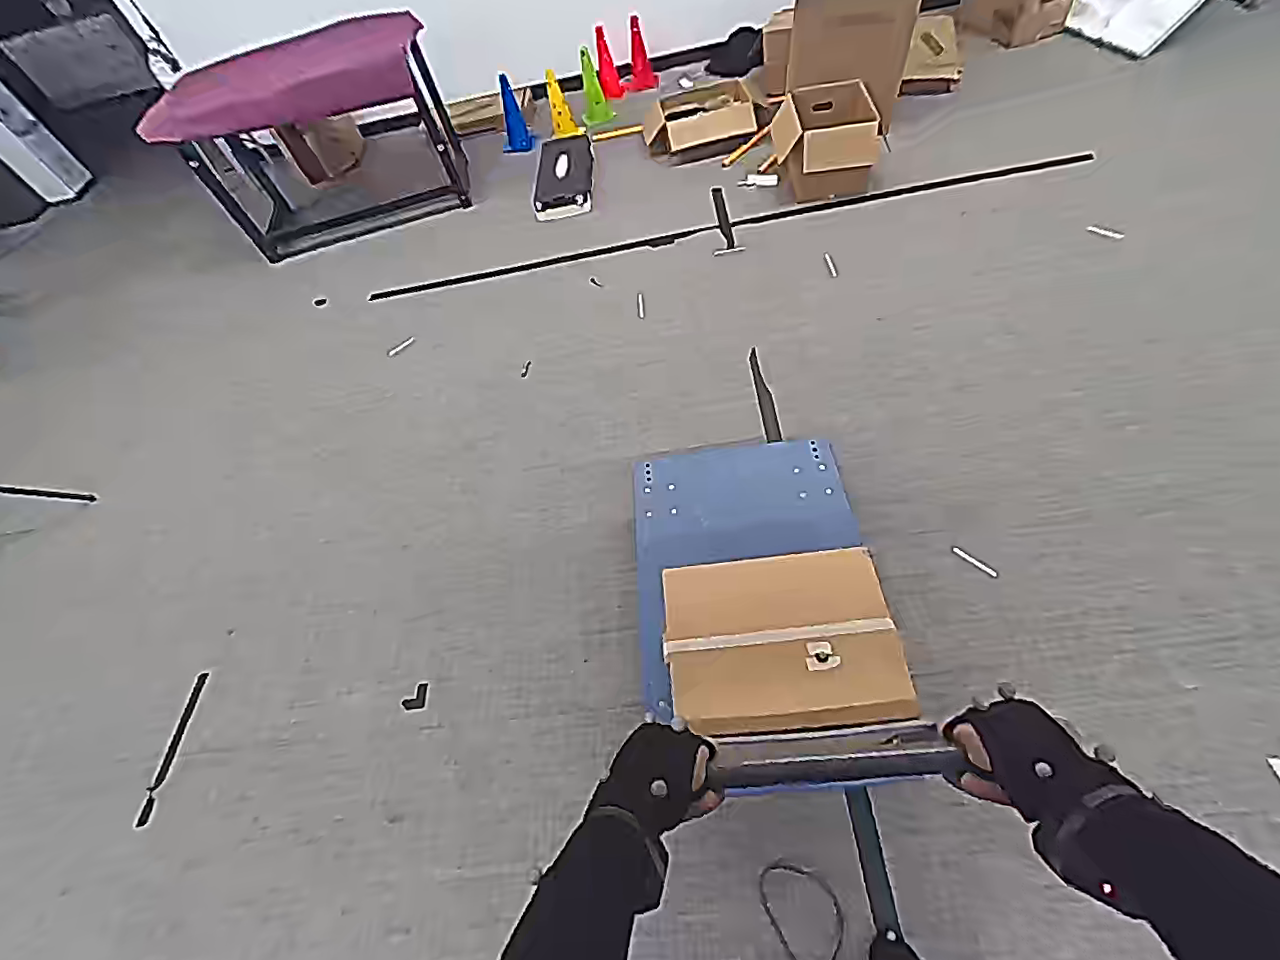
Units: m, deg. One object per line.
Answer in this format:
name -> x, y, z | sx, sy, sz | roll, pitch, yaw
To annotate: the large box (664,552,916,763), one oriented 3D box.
large box -> 0.275, 0.377, 1.116 | 0.408, 0.320, 0.320 | -8, 57, 5
